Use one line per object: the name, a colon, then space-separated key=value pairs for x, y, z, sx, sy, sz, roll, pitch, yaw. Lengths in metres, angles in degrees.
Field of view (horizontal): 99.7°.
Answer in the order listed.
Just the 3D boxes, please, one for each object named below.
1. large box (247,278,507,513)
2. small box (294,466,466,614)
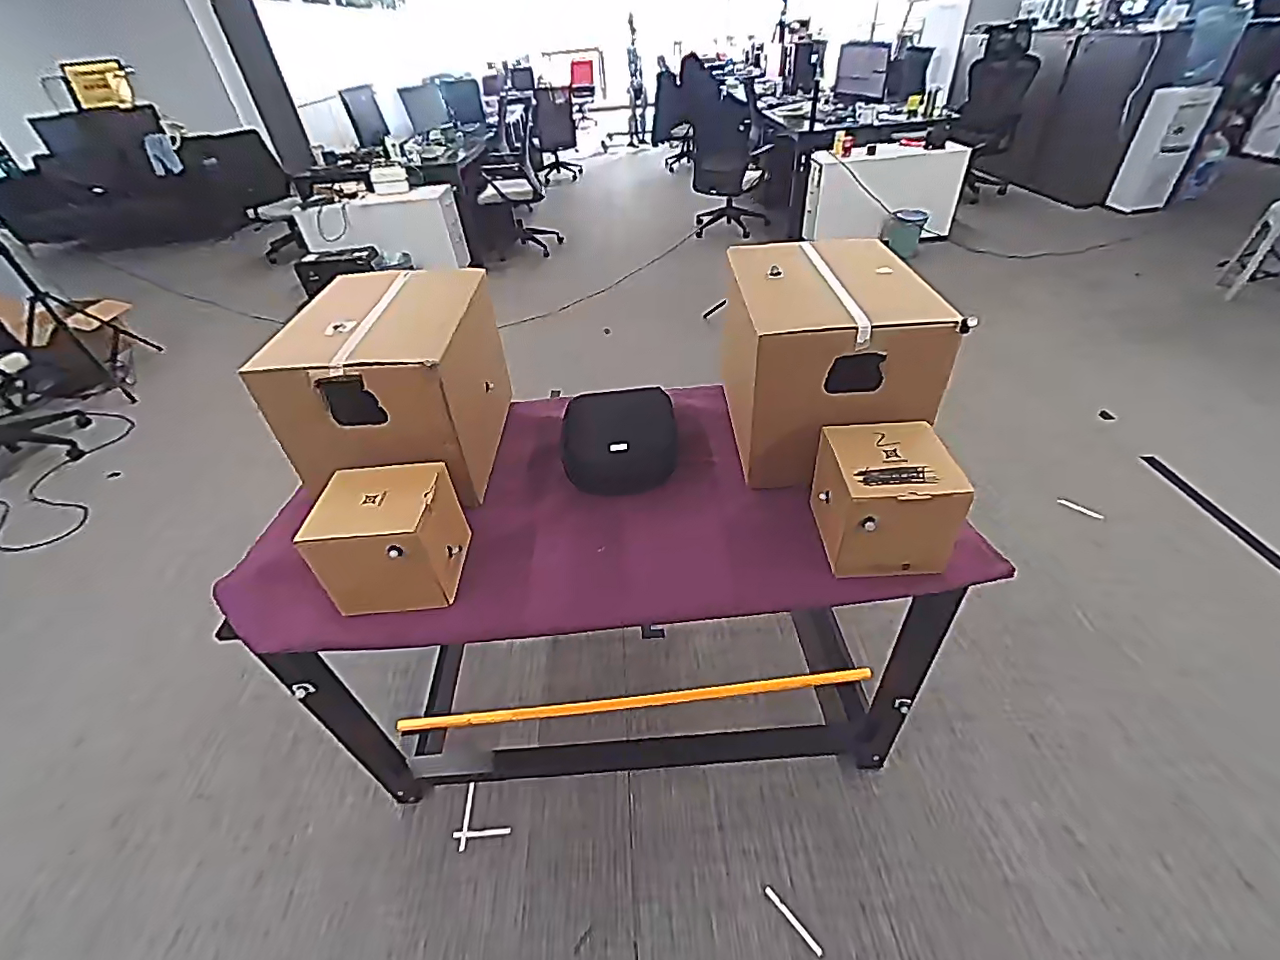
large box: x=-0.468 y=-0.173 z=1.087 sx=0.320 sy=0.320 sz=0.408 roll=-4 pitch=42 yaw=0
small box: x=-0.399 y=0.098 z=0.867 sx=0.179 sy=0.176 sz=0.168 roll=-5 pitch=39 yaw=-1
